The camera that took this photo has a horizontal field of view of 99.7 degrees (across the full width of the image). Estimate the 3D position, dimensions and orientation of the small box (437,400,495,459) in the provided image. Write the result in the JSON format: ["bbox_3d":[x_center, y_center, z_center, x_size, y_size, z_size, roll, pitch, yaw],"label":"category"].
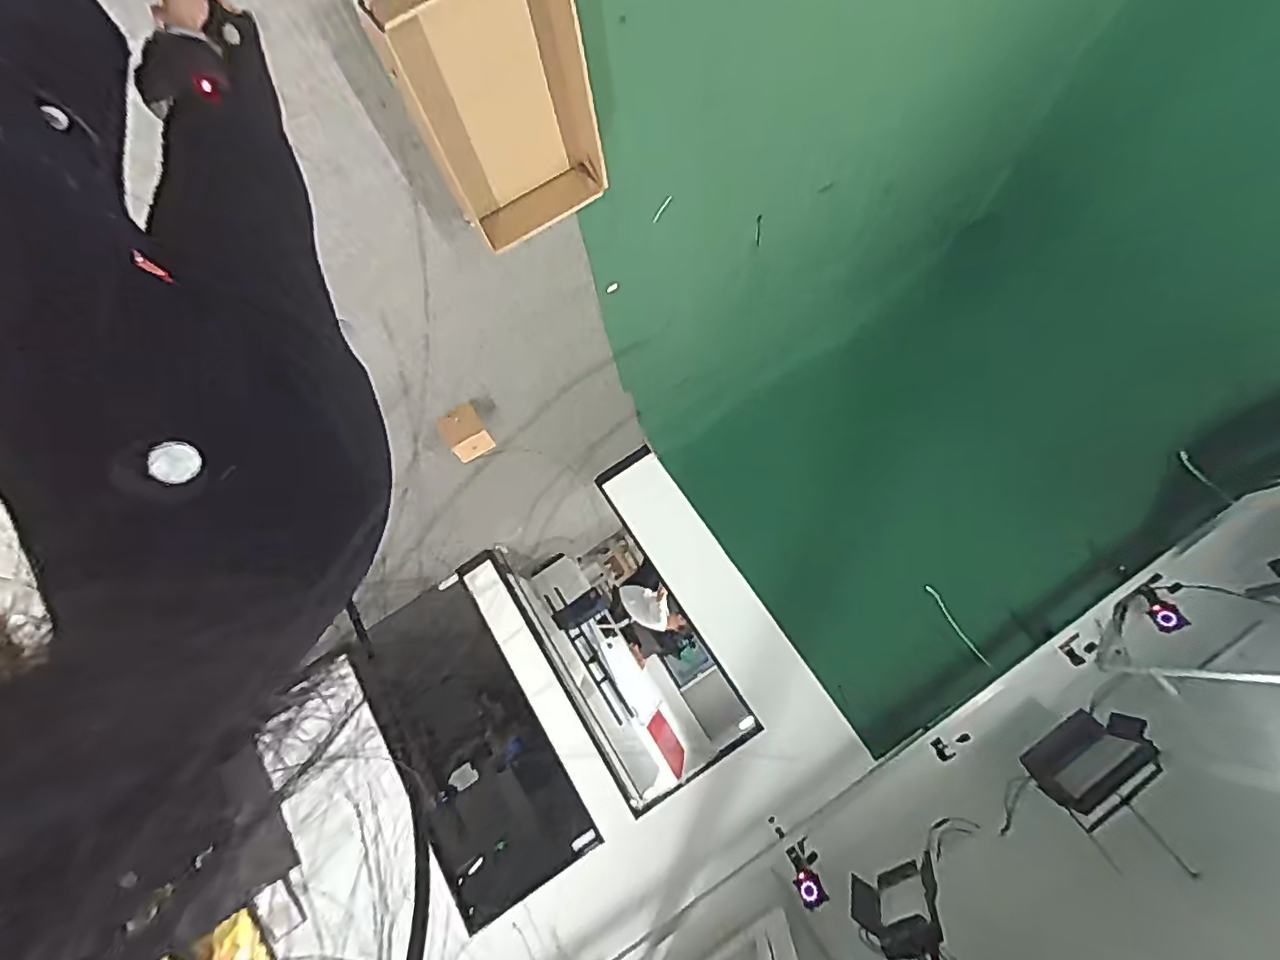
[{"bbox_3d":[-0.778,-0.229,2.422,0.168,0.176,0.179,-32,163,-10],"label":"small box"}]
